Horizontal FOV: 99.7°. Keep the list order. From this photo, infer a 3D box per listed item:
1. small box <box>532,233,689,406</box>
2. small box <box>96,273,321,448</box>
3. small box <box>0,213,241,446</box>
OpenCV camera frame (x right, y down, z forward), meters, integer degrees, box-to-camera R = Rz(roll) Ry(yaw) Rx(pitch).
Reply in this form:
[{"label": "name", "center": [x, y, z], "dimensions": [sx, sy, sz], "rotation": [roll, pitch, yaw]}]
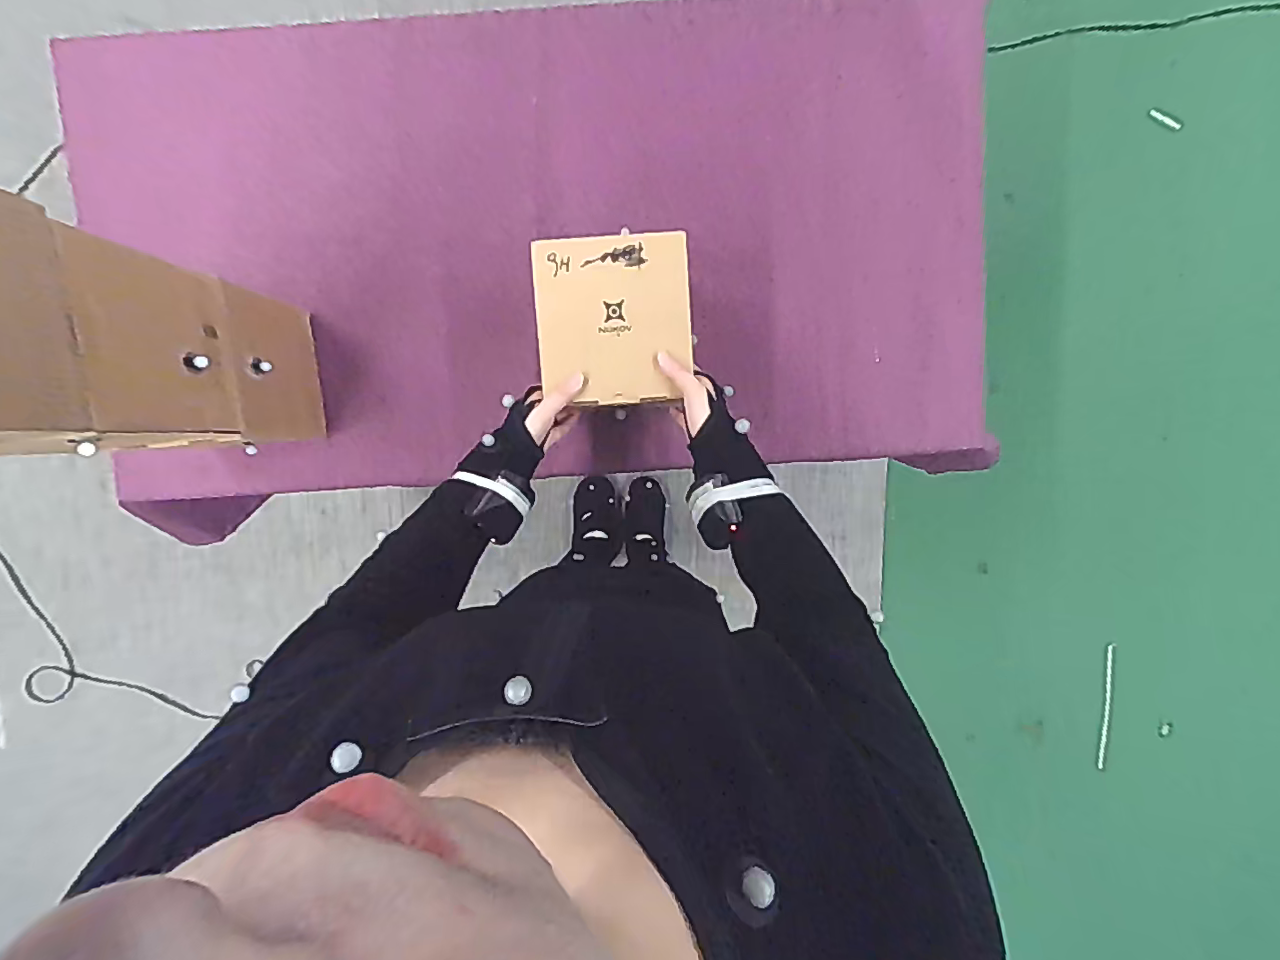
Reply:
[{"label": "small box", "center": [-0.030, -0.181, 0.658], "dimensions": [0.168, 0.176, 0.179], "rotation": [-3, 96, -1]}, {"label": "small box", "center": [-0.518, -0.135, 0.657], "dimensions": [0.168, 0.176, 0.179], "rotation": [-5, 95, -1]}, {"label": "small box", "center": [-0.520, -0.120, 0.496], "dimensions": [0.179, 0.176, 0.168], "rotation": [-7, 96, -1]}]
